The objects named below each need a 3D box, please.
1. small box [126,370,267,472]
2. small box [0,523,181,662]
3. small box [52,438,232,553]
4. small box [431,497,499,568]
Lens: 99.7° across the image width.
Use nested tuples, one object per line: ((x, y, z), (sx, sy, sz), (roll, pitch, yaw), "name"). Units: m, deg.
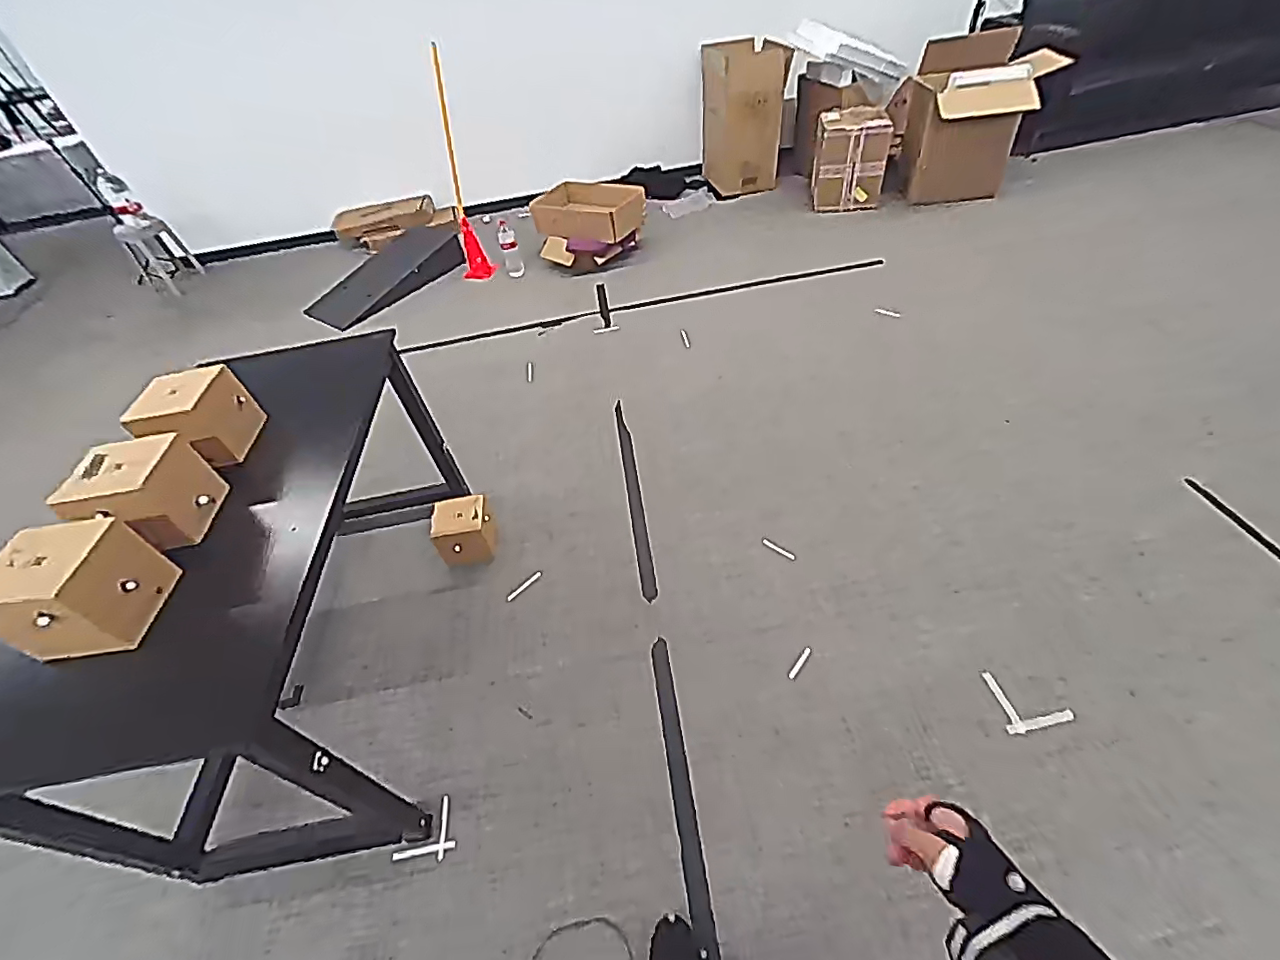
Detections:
((-1.032, -0.132, 1.281), (0.168, 0.176, 0.179), (-12, 46, 0), "small box")
((-0.975, 0.199, 0.947), (0.179, 0.176, 0.168), (-8, 45, 2), "small box")
((-0.998, 0.041, 1.105), (0.179, 0.176, 0.168), (-10, 45, -2), "small box")
((-0.614, 0.191, 1.915), (0.179, 0.176, 0.168), (-12, 46, -1), "small box")
